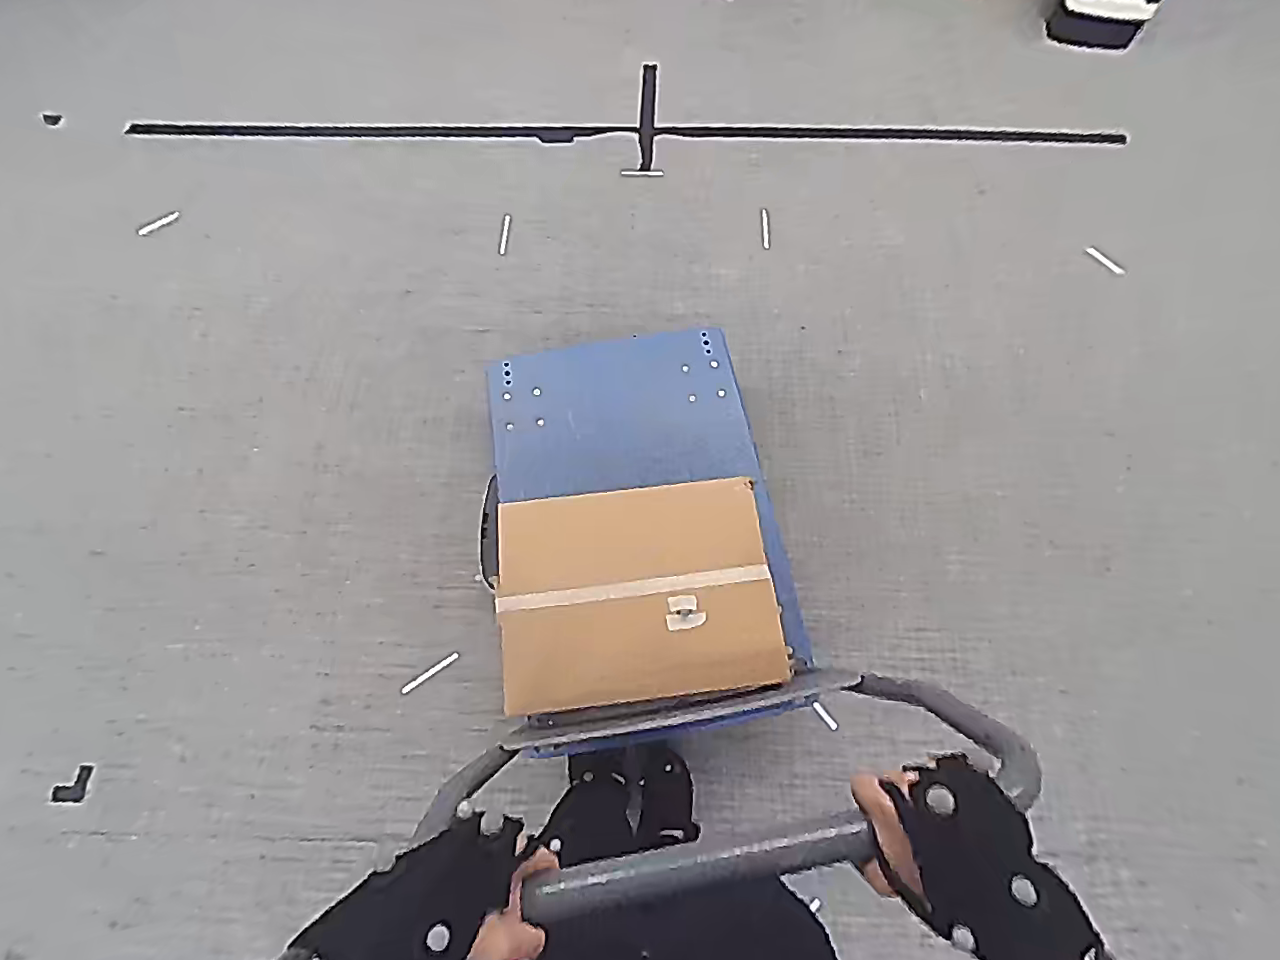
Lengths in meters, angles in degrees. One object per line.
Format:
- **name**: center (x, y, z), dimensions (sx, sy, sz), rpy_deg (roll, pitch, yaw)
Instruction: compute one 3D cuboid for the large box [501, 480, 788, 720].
- **large box**: center (-0.006, 0.217, 0.947), dimensions (0.408, 0.320, 0.320), rpy_deg (-6, 71, -3)
